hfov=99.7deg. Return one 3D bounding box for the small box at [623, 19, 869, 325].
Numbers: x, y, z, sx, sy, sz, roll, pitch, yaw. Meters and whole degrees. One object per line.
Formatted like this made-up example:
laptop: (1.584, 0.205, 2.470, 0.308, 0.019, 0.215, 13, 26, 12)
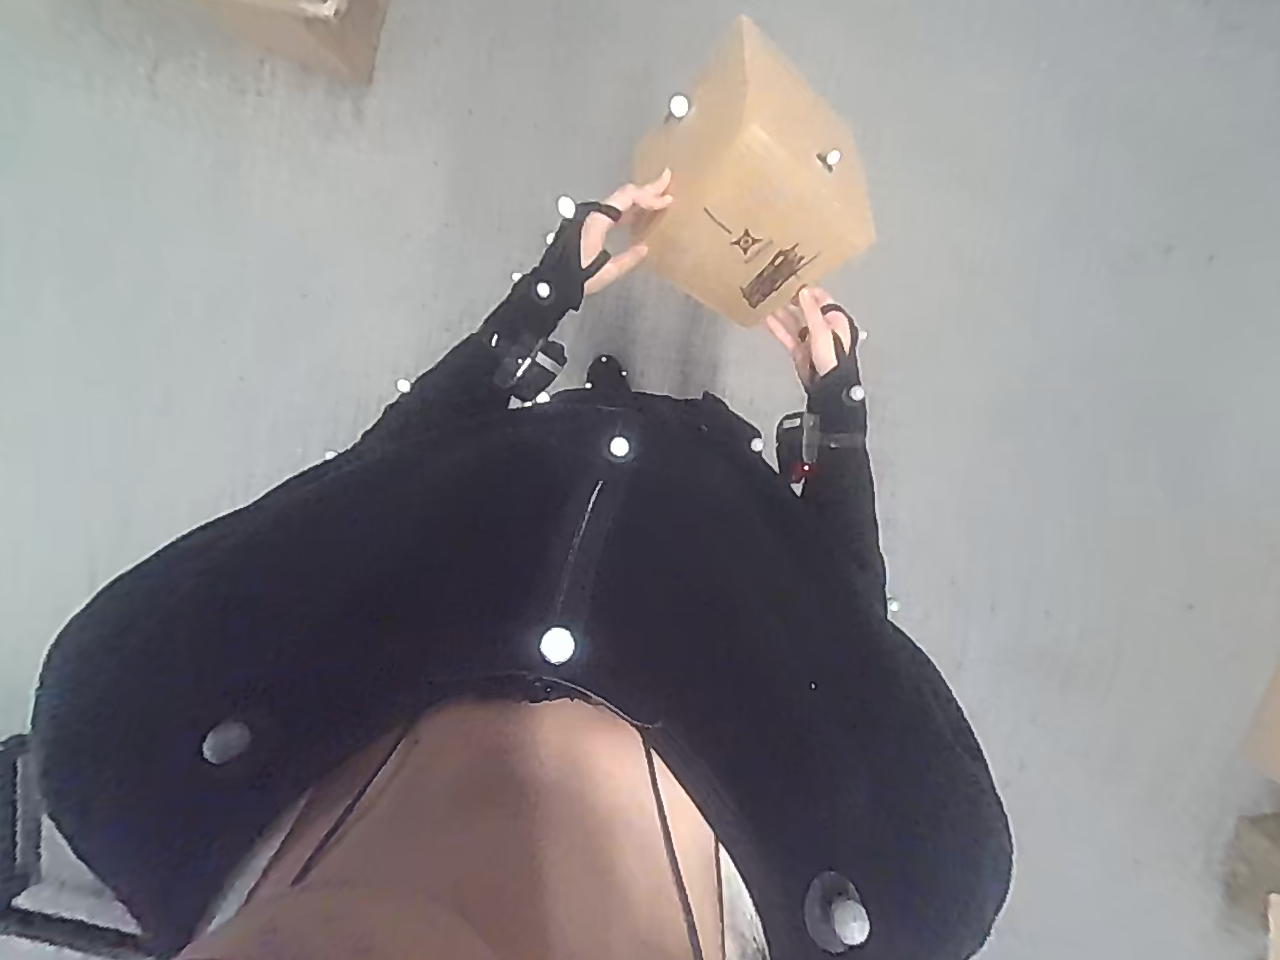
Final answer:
small box: (0.102, -0.299, 0.547, 0.179, 0.168, 0.176, 21, 58, -33)
